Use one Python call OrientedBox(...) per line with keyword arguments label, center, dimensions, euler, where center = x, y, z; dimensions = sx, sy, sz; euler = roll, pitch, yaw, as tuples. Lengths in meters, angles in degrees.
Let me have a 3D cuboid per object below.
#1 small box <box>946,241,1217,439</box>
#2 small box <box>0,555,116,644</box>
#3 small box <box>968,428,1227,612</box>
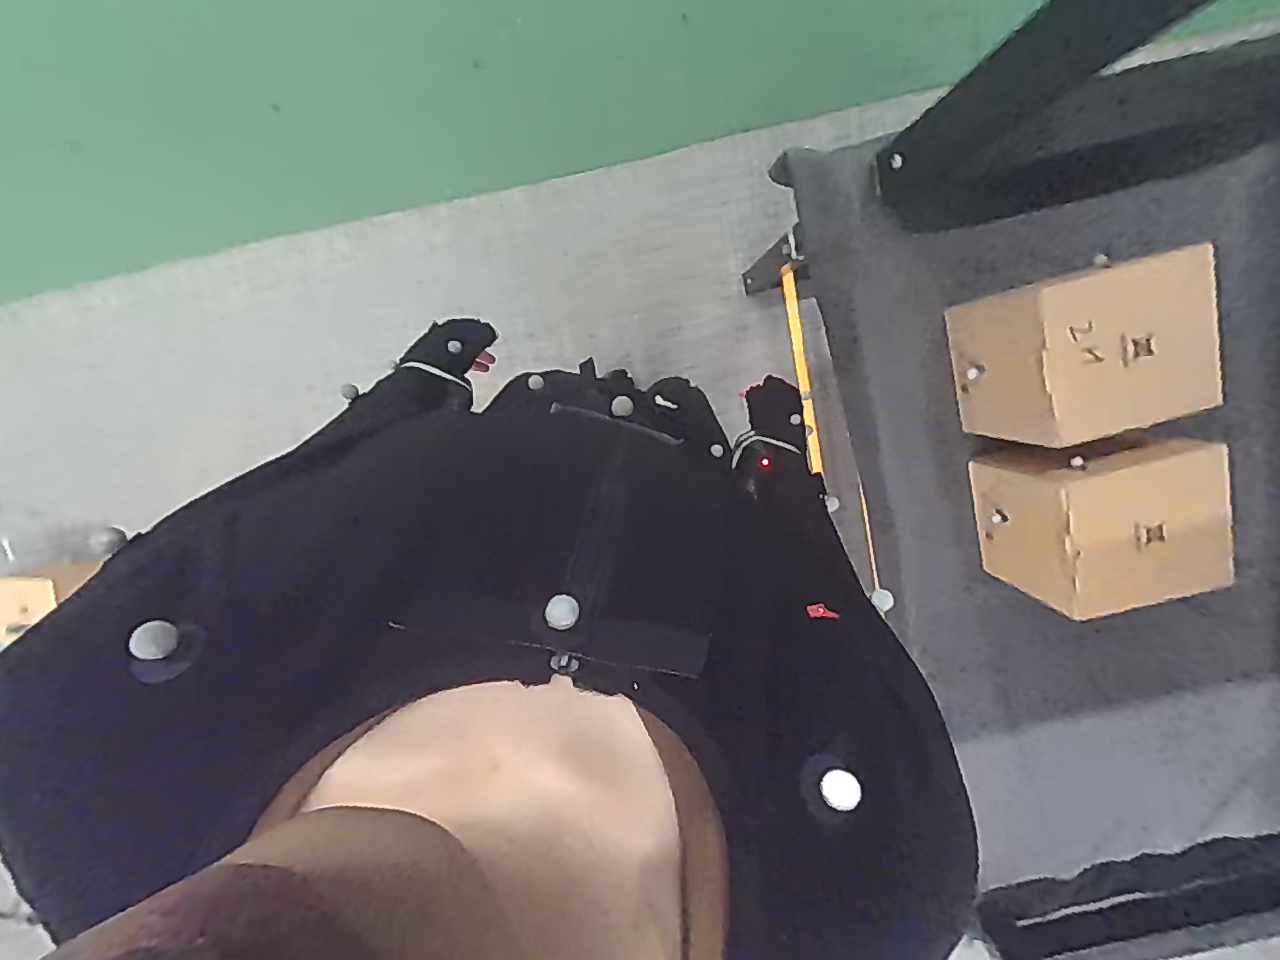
OrientedBox(label="small box", center=(0.496, -0.156, 0.627), dimensions=(0.179, 0.176, 0.168), euler=(-15, 101, 2))
OrientedBox(label="small box", center=(-1.539, 0.310, 1.421), dimensions=(0.168, 0.176, 0.179), euler=(2, 100, -2))
OrientedBox(label="small box", center=(0.550, 0.036, 0.669), dimensions=(0.179, 0.176, 0.168), euler=(-15, 100, 2))
